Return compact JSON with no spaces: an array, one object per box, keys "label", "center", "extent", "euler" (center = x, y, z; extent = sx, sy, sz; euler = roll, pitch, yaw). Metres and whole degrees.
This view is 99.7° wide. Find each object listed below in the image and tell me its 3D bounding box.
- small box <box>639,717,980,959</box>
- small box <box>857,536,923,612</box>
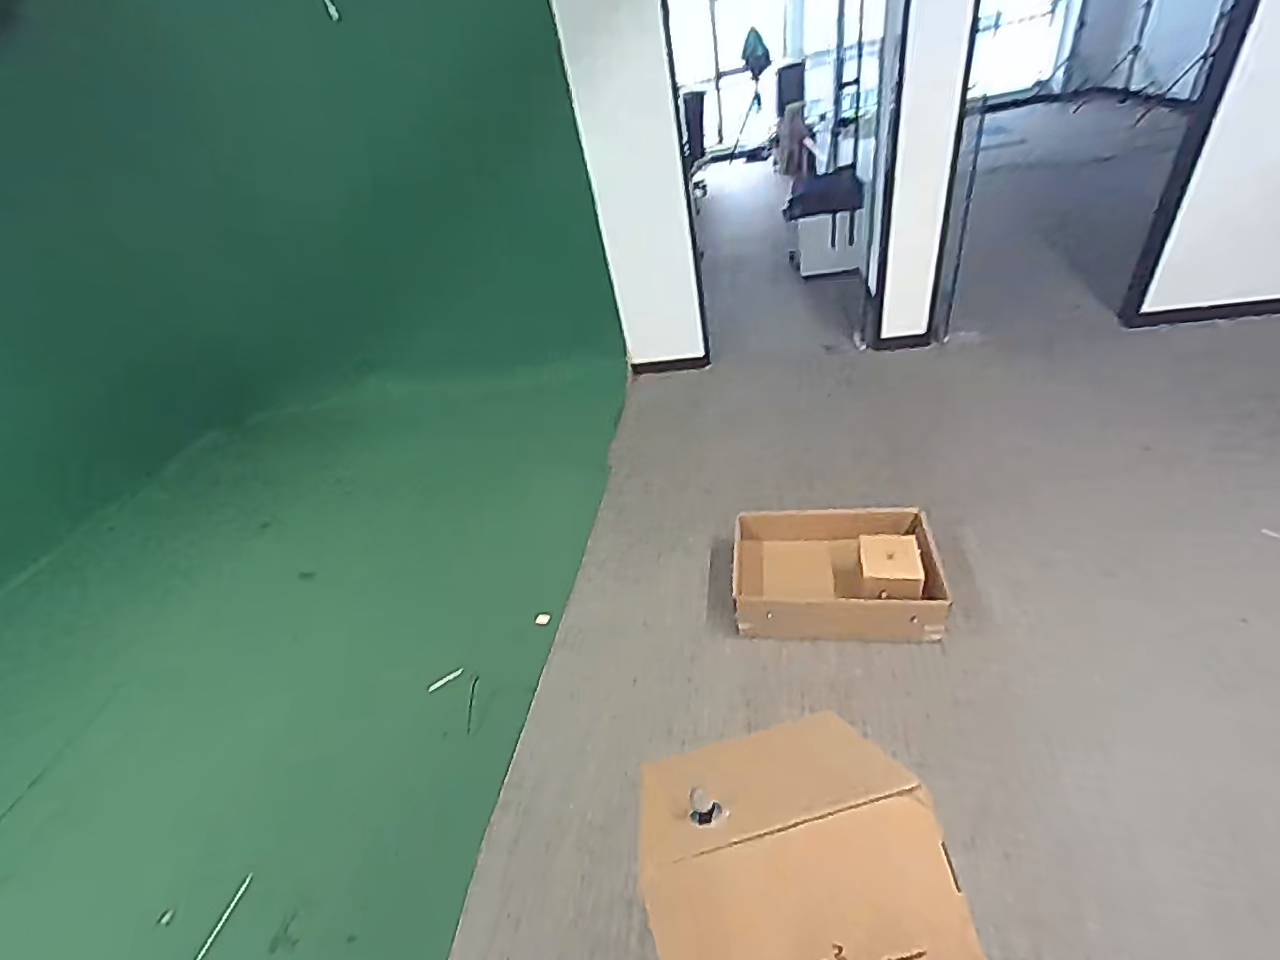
[{"label":"small box","center":[0.104,0.290,0.381],"extent":[0.179,0.176,0.168],"euler":[-15,81,-2]},{"label":"small box","center":[0.776,0.296,1.693],"extent":[0.168,0.176,0.179],"euler":[-1,39,16]}]
